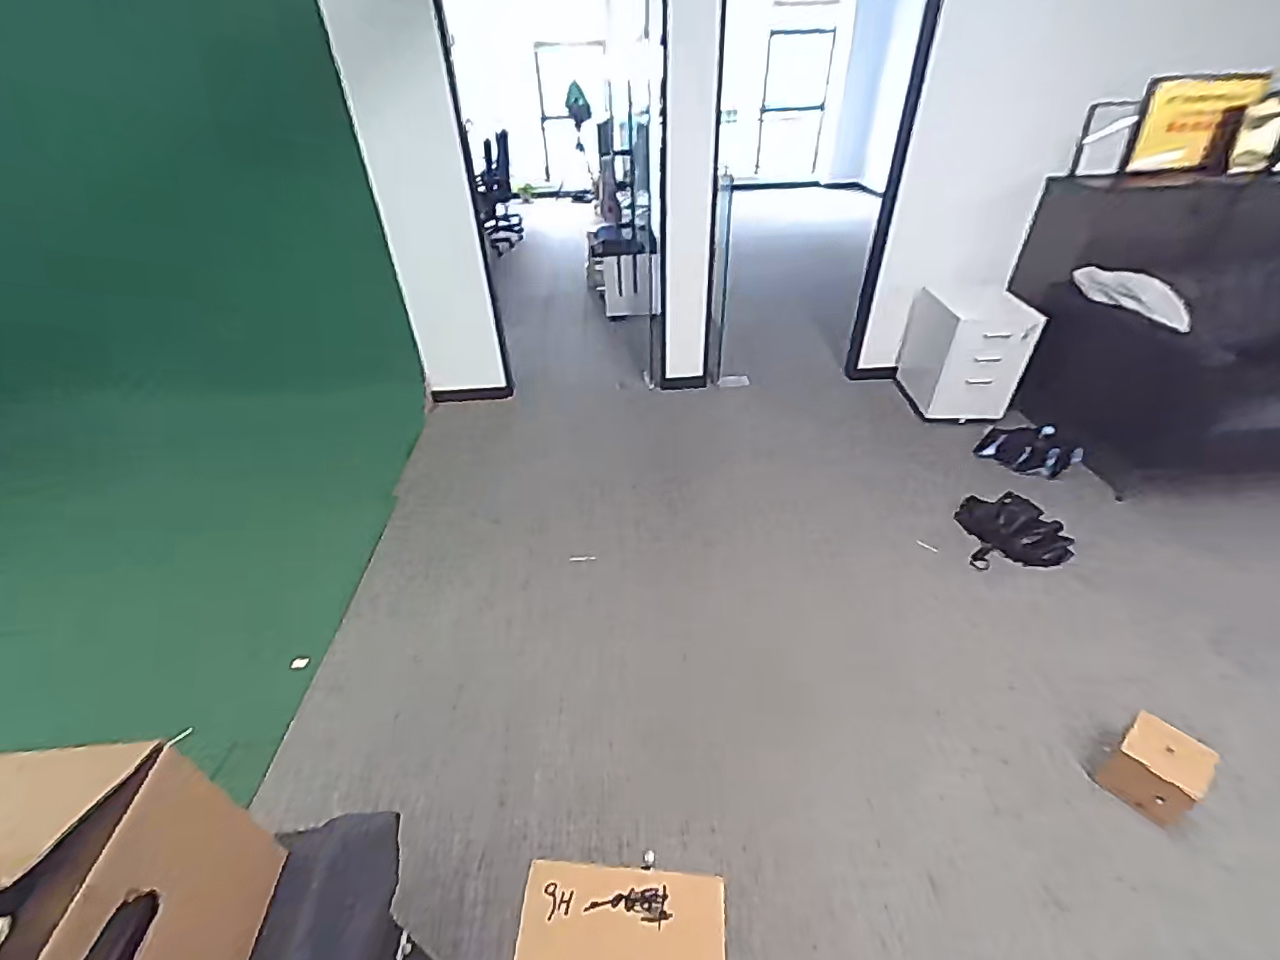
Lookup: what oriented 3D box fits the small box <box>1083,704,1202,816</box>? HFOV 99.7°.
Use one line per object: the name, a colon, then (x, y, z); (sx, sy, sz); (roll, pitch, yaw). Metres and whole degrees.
small box: (1.345, 0.756, 1.459); (0.179, 0.176, 0.168); (-27, 45, -32)
